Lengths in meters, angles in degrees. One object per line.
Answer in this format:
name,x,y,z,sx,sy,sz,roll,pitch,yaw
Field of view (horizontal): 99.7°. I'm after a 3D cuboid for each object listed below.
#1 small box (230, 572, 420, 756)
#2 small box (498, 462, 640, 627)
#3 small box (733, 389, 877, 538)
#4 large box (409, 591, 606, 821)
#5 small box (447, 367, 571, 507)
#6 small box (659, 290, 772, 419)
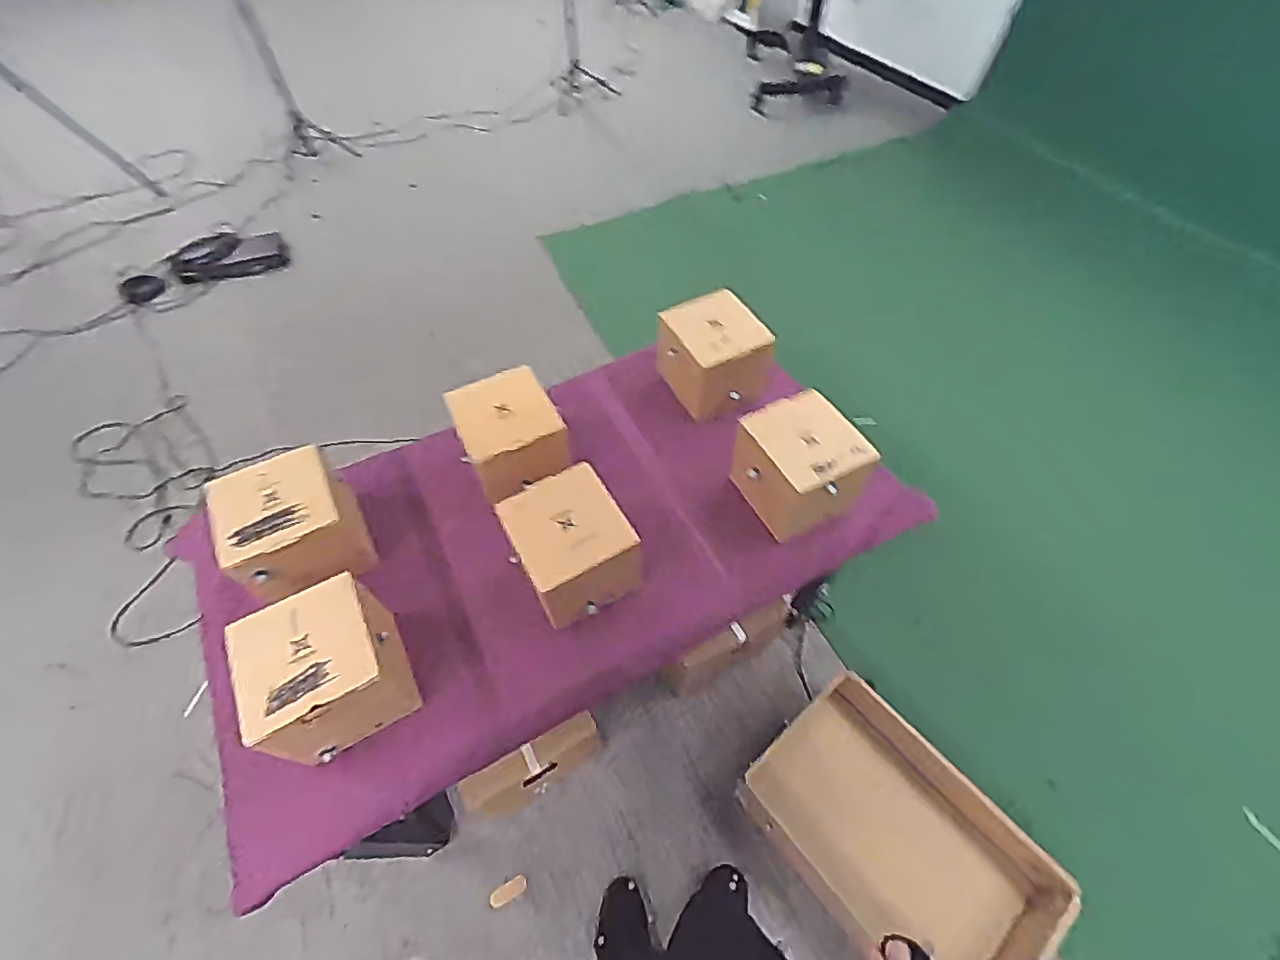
small box,-0.441,0.271,0.777,0.168,0.176,0.179,-26,58,-17
small box,-0.111,0.109,0.889,0.168,0.176,0.179,-27,59,-16
small box,0.284,-0.027,0.976,0.168,0.176,0.179,-24,56,-13
large box,-0.323,0.571,1.375,0.320,0.320,0.408,-26,58,-18
small box,-0.241,-0.076,1.020,0.168,0.176,0.179,-24,60,-16
small box,0.149,-0.261,1.139,0.168,0.176,0.179,-24,60,-13
